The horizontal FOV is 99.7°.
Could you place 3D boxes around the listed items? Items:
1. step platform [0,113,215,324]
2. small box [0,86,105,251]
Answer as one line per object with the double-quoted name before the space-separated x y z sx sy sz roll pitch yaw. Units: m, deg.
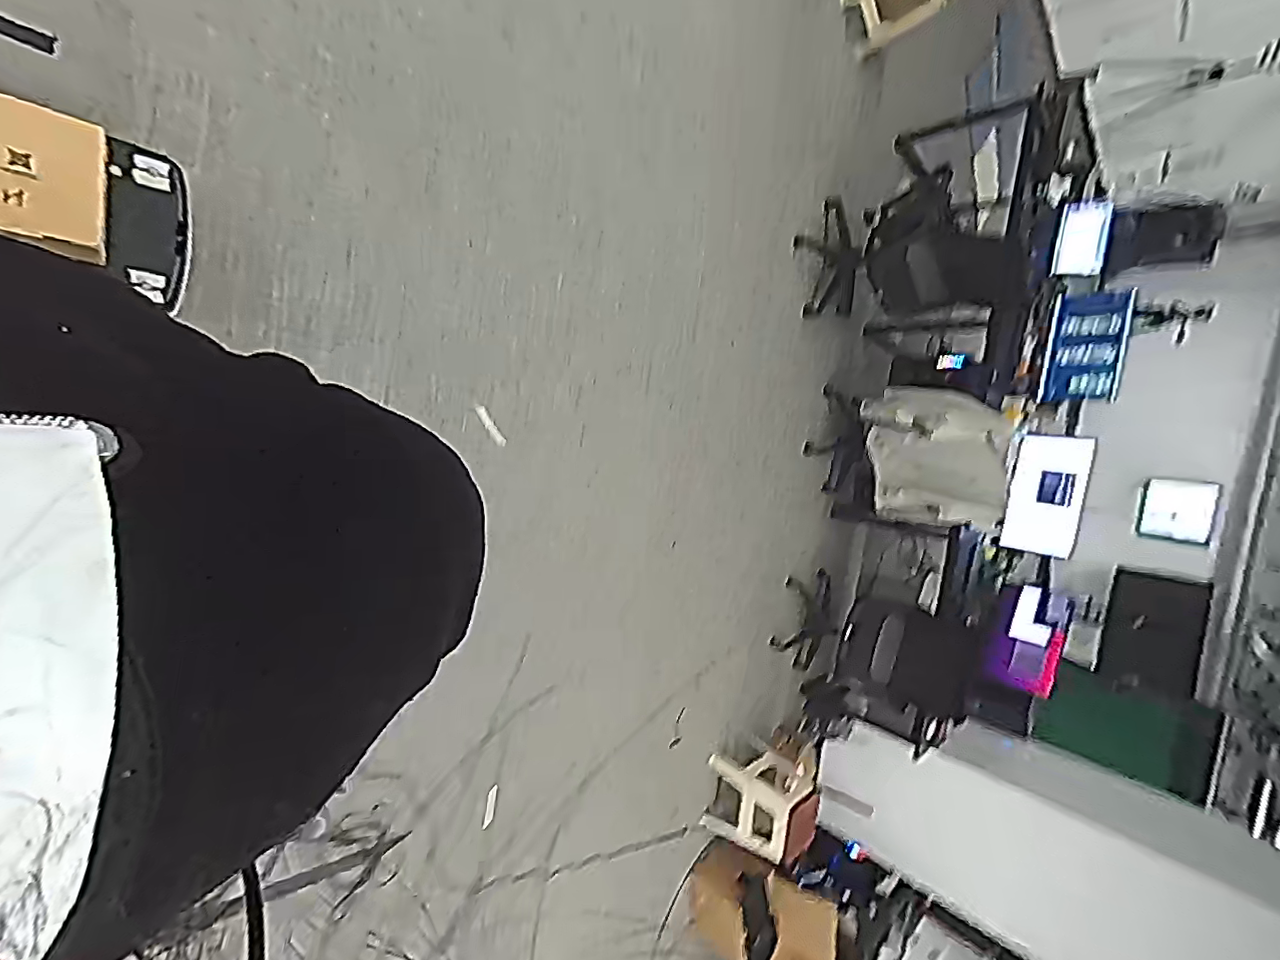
"step platform" -0.978 -0.412 0.677 0.684 0.204 0.286 3 96 -46
"small box" -0.905 -0.449 0.793 0.168 0.176 0.179 3 97 -44
